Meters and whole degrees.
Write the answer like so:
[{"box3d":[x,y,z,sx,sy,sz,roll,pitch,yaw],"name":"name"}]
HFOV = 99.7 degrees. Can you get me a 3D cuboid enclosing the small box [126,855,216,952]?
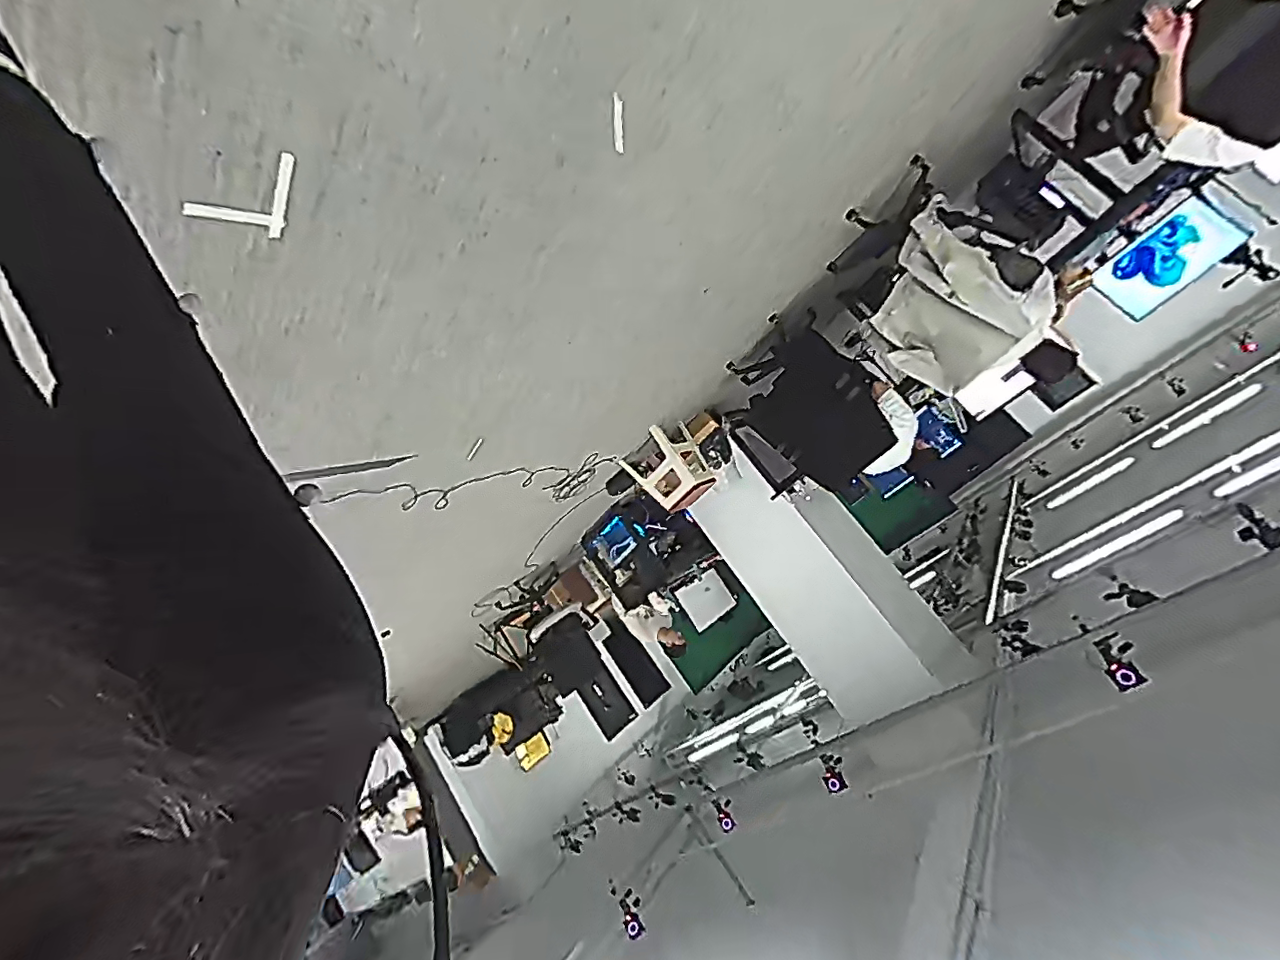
[{"box3d":[-1.480,1.332,1.706,0.179,0.176,0.168,-22,160,-42],"name":"small box"}]
